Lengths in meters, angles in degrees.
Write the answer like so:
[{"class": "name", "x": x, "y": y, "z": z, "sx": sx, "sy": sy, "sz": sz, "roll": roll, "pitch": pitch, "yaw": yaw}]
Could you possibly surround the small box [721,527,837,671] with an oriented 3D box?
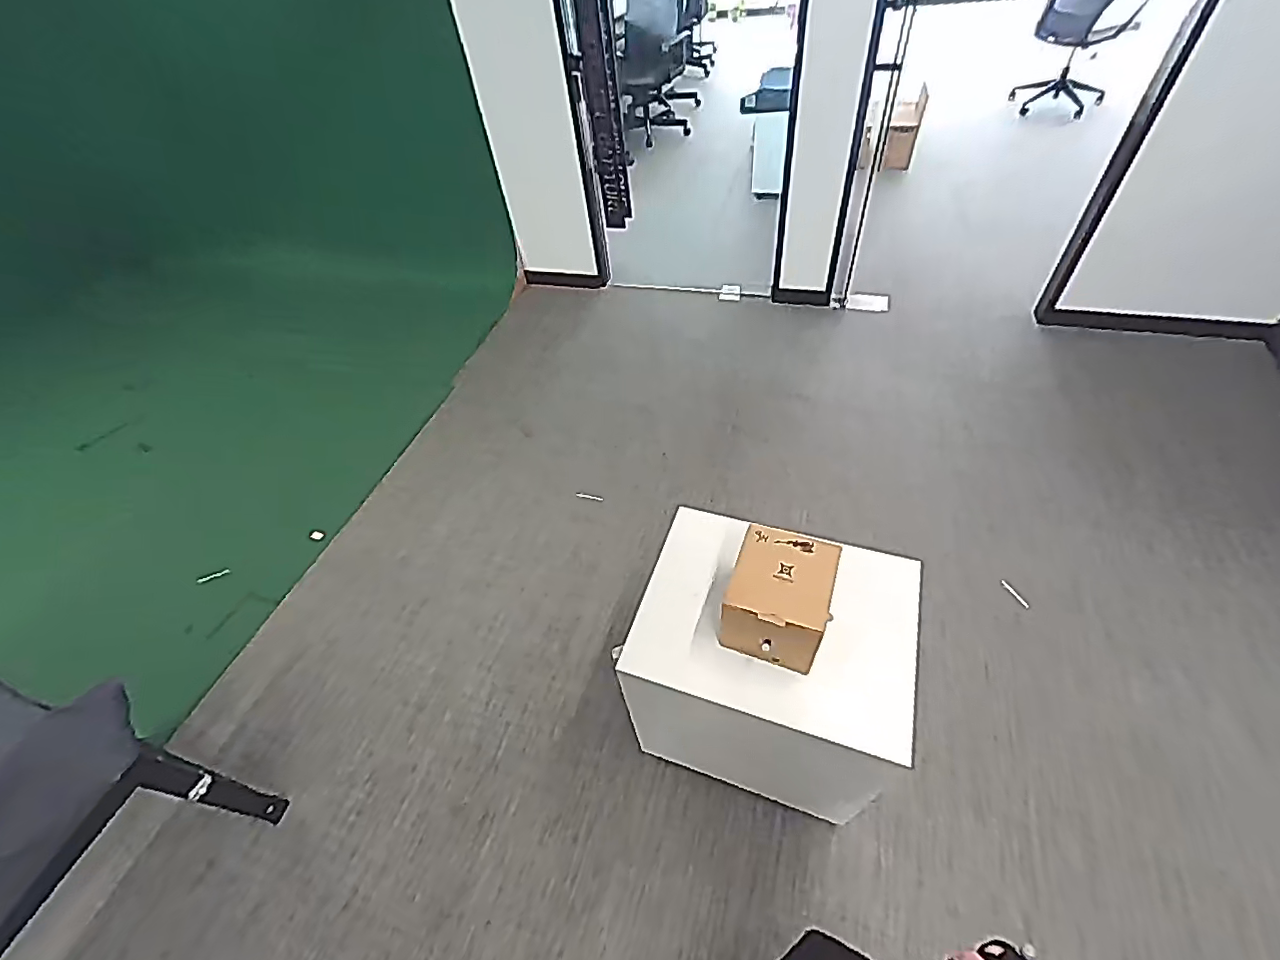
[{"class": "small box", "x": 0.247, "y": 0.216, "z": 0.974, "sx": 0.168, "sy": 0.176, "sz": 0.179, "roll": 12, "pitch": 51, "yaw": 17}]
